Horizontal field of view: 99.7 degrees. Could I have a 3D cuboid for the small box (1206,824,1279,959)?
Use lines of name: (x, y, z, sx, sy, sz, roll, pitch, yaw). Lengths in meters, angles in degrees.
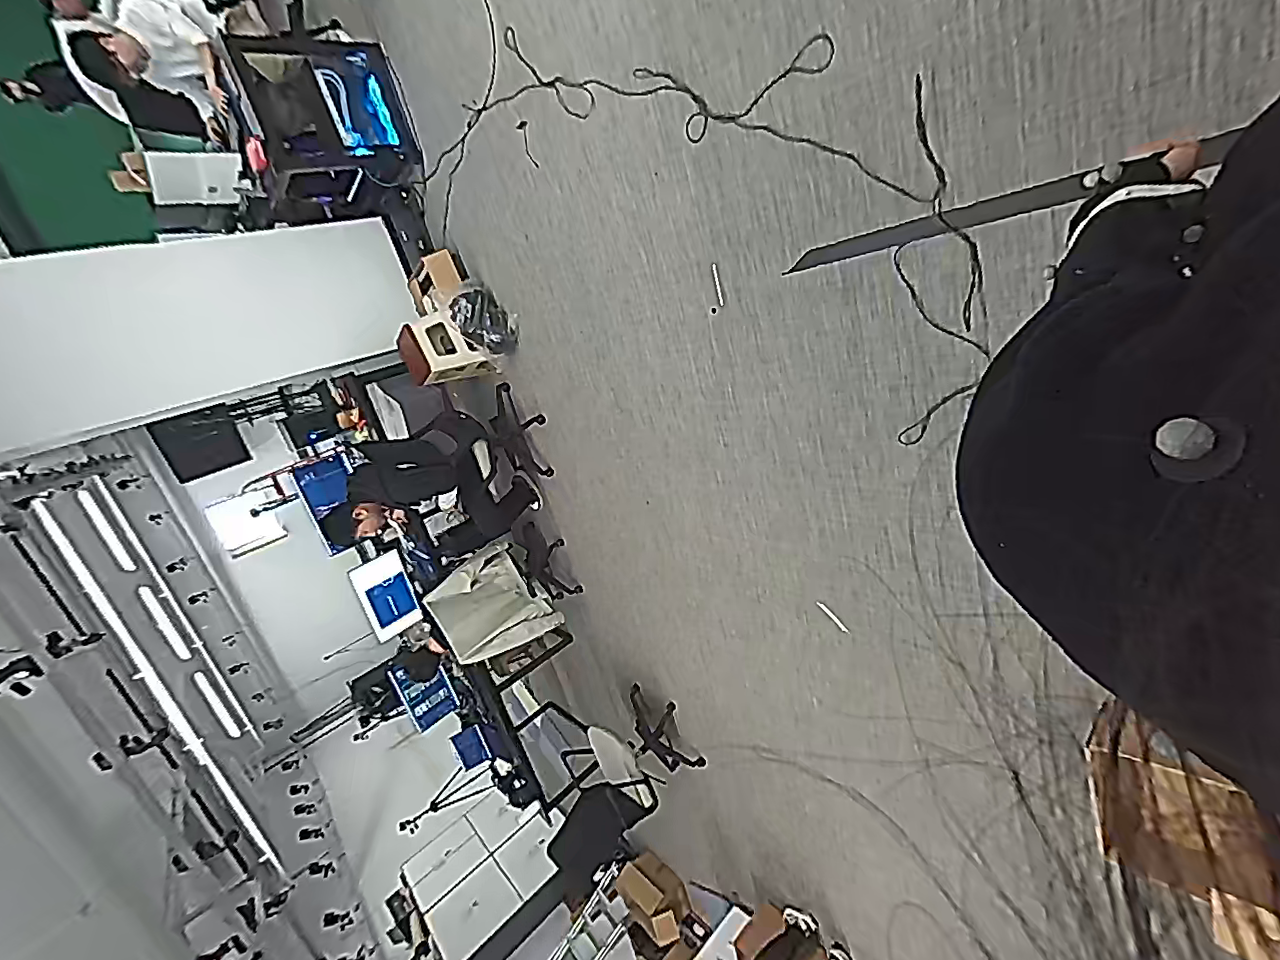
small box: (1.300, 0.870, 1.115, 0.168, 0.176, 0.179, 0, 114, 52)
